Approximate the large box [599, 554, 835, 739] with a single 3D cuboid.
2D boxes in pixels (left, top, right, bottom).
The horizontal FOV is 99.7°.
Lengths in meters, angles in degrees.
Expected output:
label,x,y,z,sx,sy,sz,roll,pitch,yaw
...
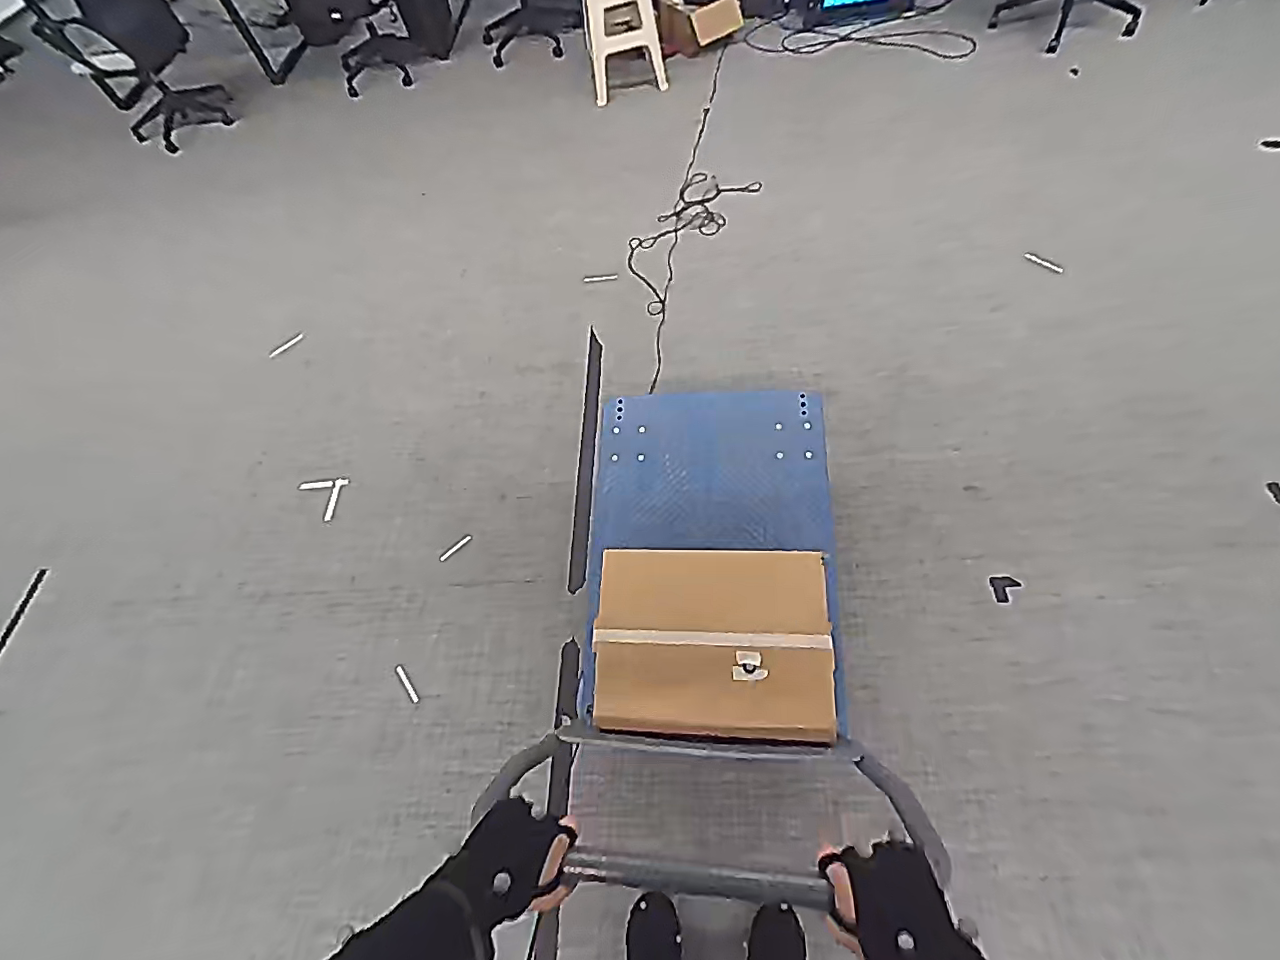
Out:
label,x,y,z,sx,sy,sz,roll,pitch,yaw
large box,0.145,0.336,1.099,0.408,0.320,0.320,-1,71,8
